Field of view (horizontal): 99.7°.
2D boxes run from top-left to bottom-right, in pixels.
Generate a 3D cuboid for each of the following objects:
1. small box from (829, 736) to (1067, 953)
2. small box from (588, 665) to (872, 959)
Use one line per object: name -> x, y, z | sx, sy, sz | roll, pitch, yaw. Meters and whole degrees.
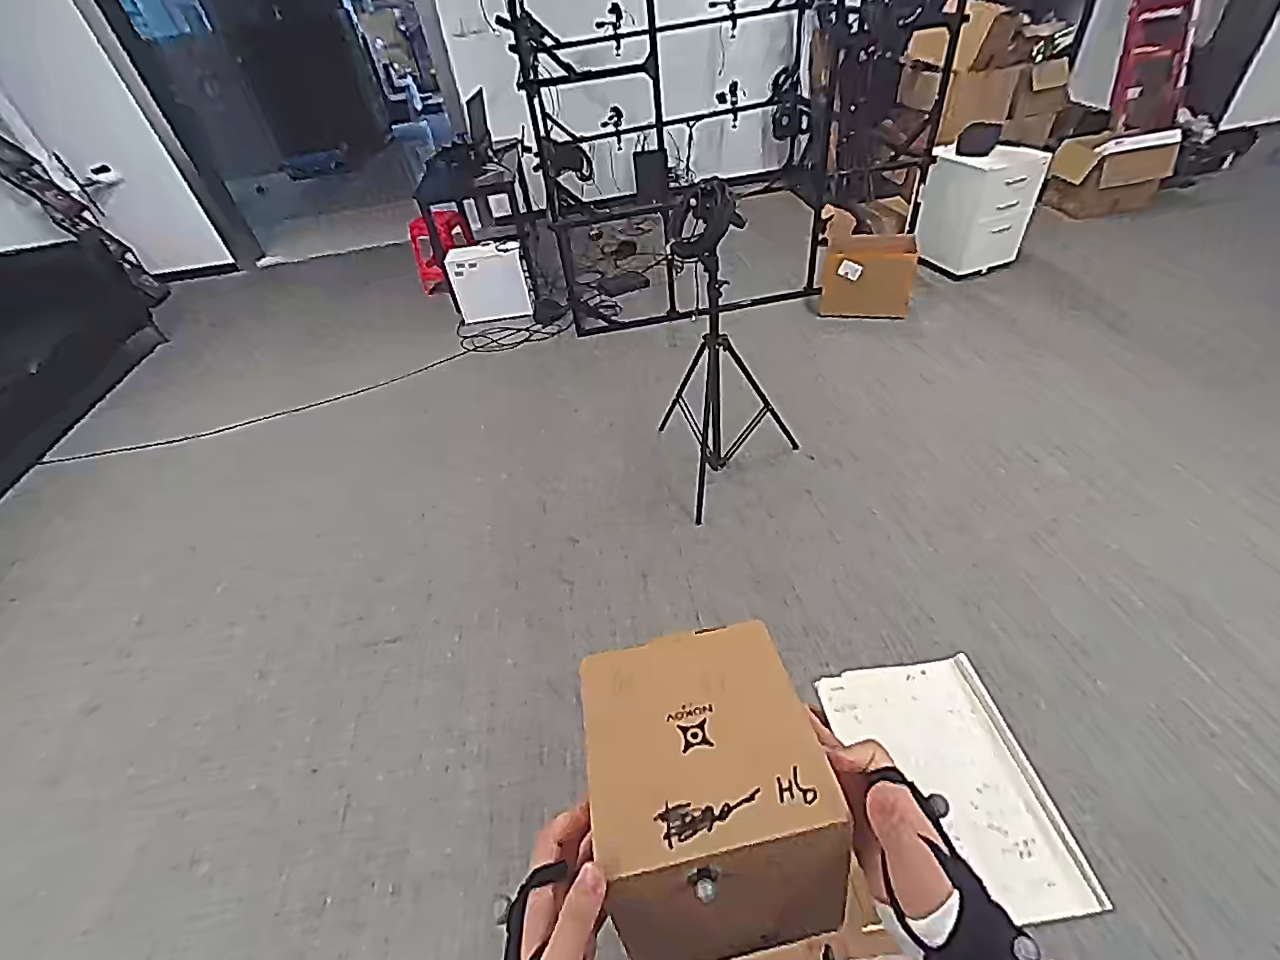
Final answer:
small box -> 0.342, 0.438, 0.651 | 0.168, 0.176, 0.179 | -7, 44, -2
small box -> 0.057, 0.284, 0.425 | 0.168, 0.176, 0.179 | -12, 31, -2
